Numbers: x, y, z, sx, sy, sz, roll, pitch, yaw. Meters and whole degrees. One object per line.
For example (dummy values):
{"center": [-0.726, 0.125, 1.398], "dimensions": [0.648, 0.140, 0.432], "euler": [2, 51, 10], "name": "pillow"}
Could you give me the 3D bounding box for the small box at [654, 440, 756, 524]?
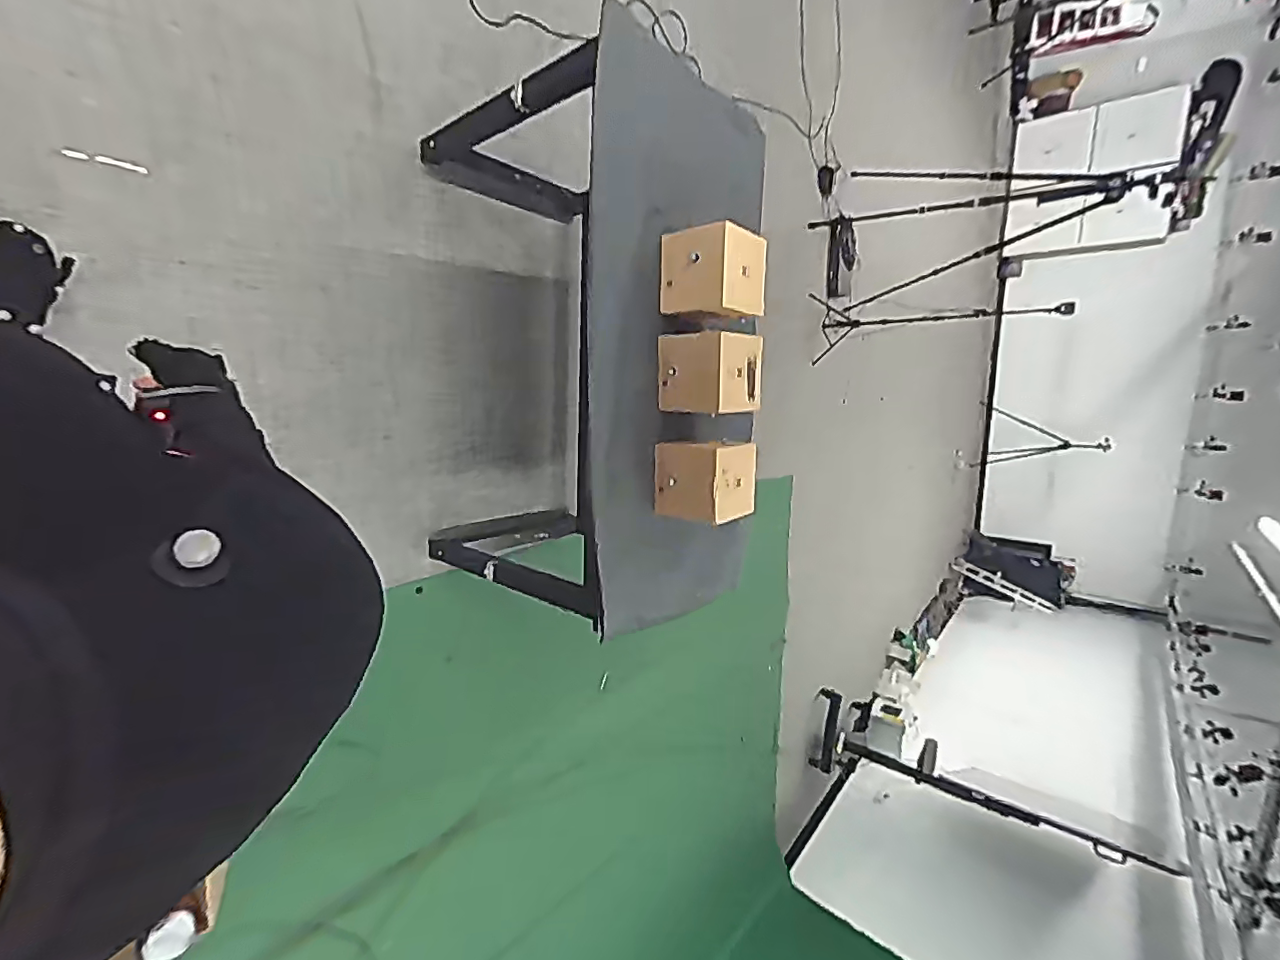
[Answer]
{"center": [0.151, -0.002, 1.257], "dimensions": [0.179, 0.176, 0.168], "euler": [-11, 104, -49], "name": "small box"}
